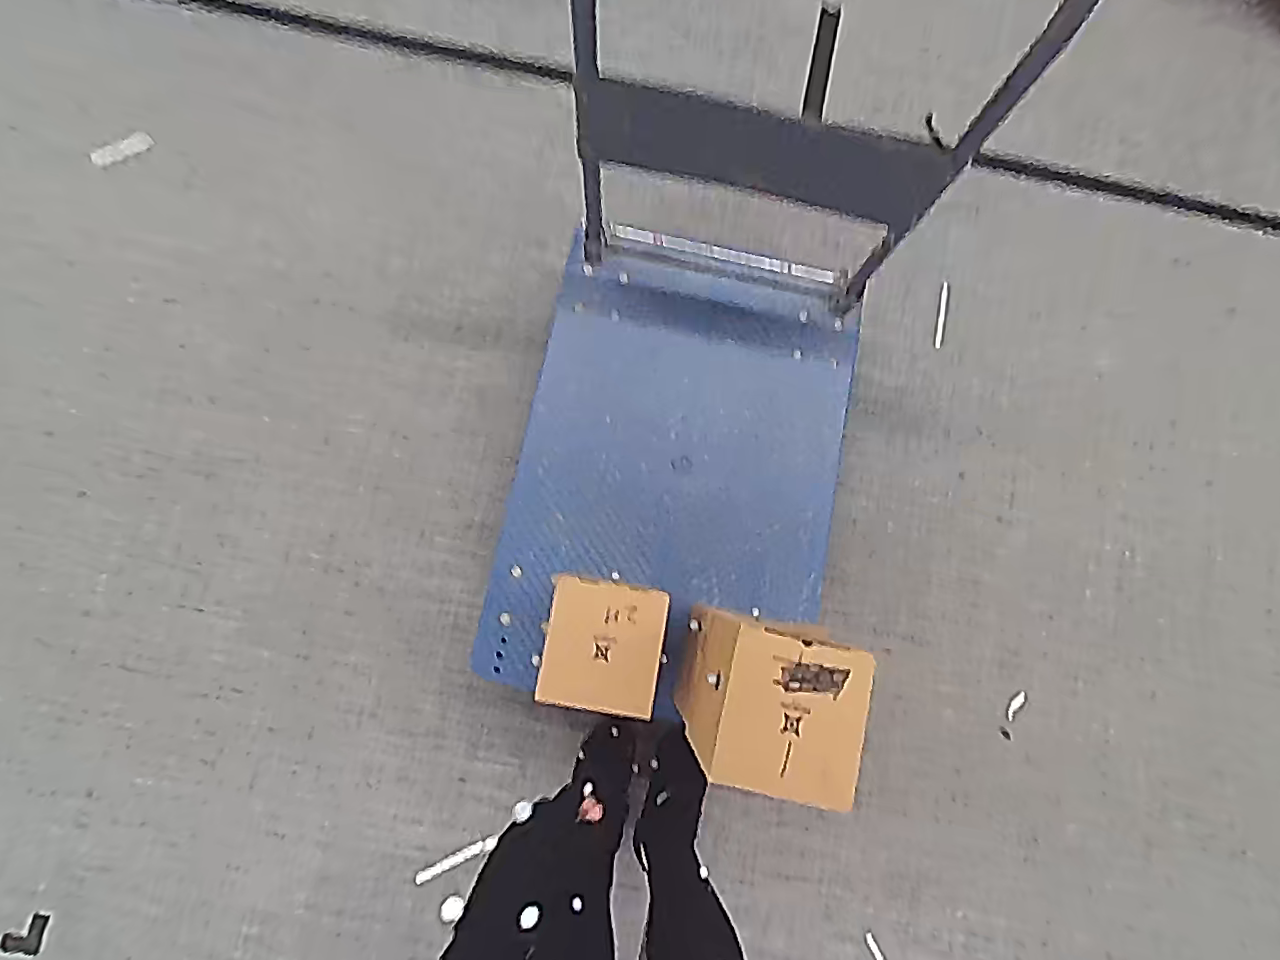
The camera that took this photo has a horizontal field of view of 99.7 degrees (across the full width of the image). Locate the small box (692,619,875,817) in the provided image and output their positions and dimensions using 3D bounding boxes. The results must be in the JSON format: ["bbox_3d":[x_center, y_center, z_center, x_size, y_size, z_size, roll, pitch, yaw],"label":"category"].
[{"bbox_3d":[0.170,0.284,0.690,0.168,0.176,0.179,14,81,-1],"label":"small box"}]

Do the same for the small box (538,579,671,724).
[{"bbox_3d":[-0.053,0.258,0.848,0.168,0.176,0.179,11,80,-2],"label":"small box"}]
